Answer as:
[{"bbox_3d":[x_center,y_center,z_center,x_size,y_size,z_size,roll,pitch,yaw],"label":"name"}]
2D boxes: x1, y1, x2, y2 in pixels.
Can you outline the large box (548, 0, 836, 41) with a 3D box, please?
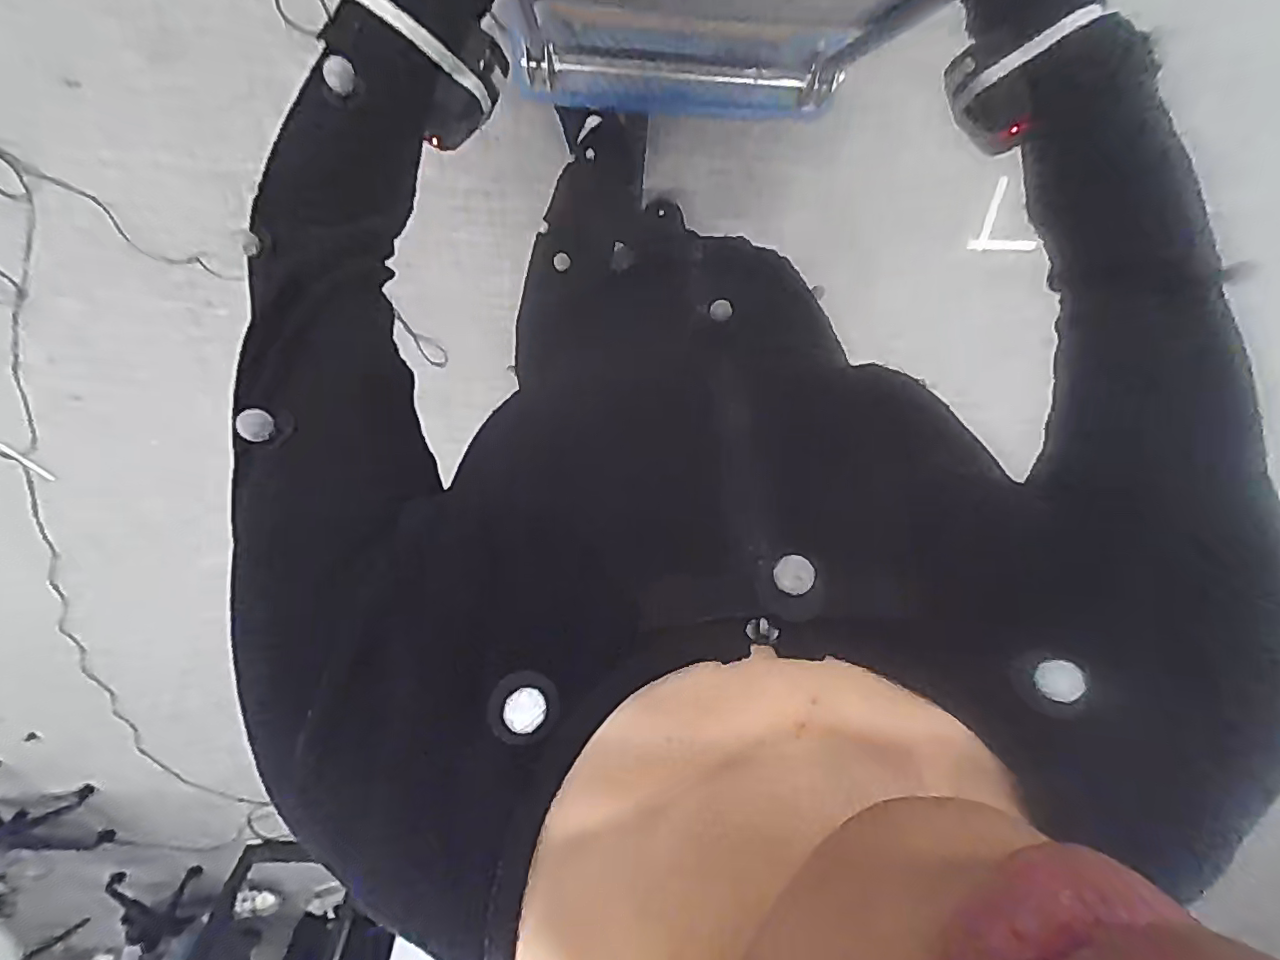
[{"bbox_3d":[0.068,-0.814,0.713,0.408,0.320,0.320,0,120,-5],"label":"large box"}]
